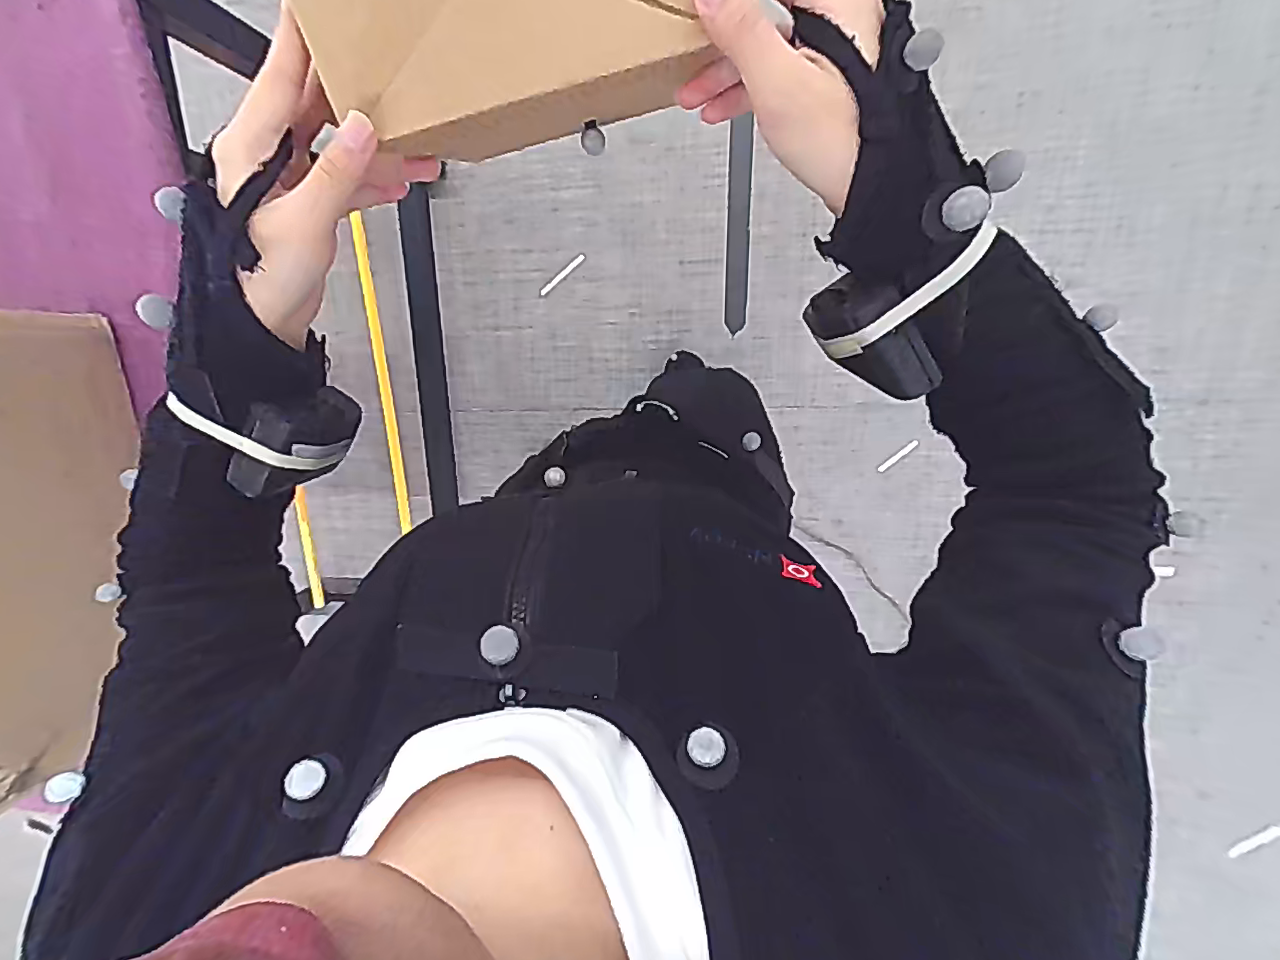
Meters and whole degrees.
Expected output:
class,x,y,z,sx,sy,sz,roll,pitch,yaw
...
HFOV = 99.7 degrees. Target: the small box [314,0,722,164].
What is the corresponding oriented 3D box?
class,x,y,z,sx,sy,sz,roll,pitch,yaw
small box,-0.060,-0.274,0.269,0.179,0.176,0.168,-8,117,10
